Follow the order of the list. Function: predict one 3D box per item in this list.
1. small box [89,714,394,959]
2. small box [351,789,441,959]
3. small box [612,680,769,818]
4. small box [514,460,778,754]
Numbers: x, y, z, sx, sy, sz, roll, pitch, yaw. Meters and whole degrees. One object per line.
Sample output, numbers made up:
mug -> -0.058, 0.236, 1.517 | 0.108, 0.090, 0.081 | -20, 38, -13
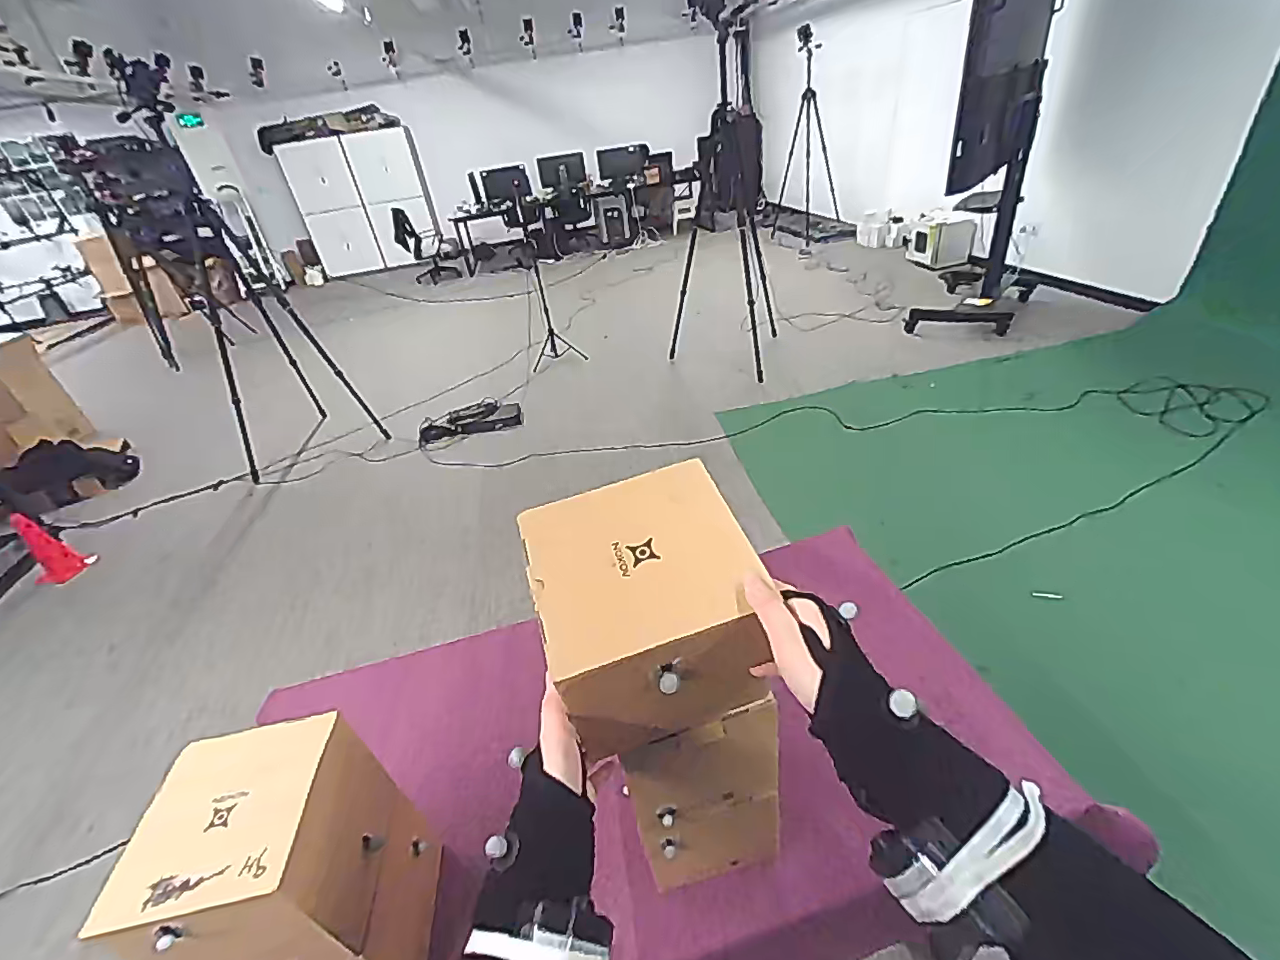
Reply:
small box -> -0.383, 0.386, 0.567 | 0.168, 0.176, 0.179 | -13, 33, -2
small box -> -0.358, 0.522, 0.659 | 0.168, 0.176, 0.179 | -12, 34, -3
small box -> 0.044, 0.263, 0.638 | 0.168, 0.176, 0.179 | -15, 32, -8
small box -> 0.004, 0.115, 0.488 | 0.179, 0.176, 0.168 | -19, 47, -7
